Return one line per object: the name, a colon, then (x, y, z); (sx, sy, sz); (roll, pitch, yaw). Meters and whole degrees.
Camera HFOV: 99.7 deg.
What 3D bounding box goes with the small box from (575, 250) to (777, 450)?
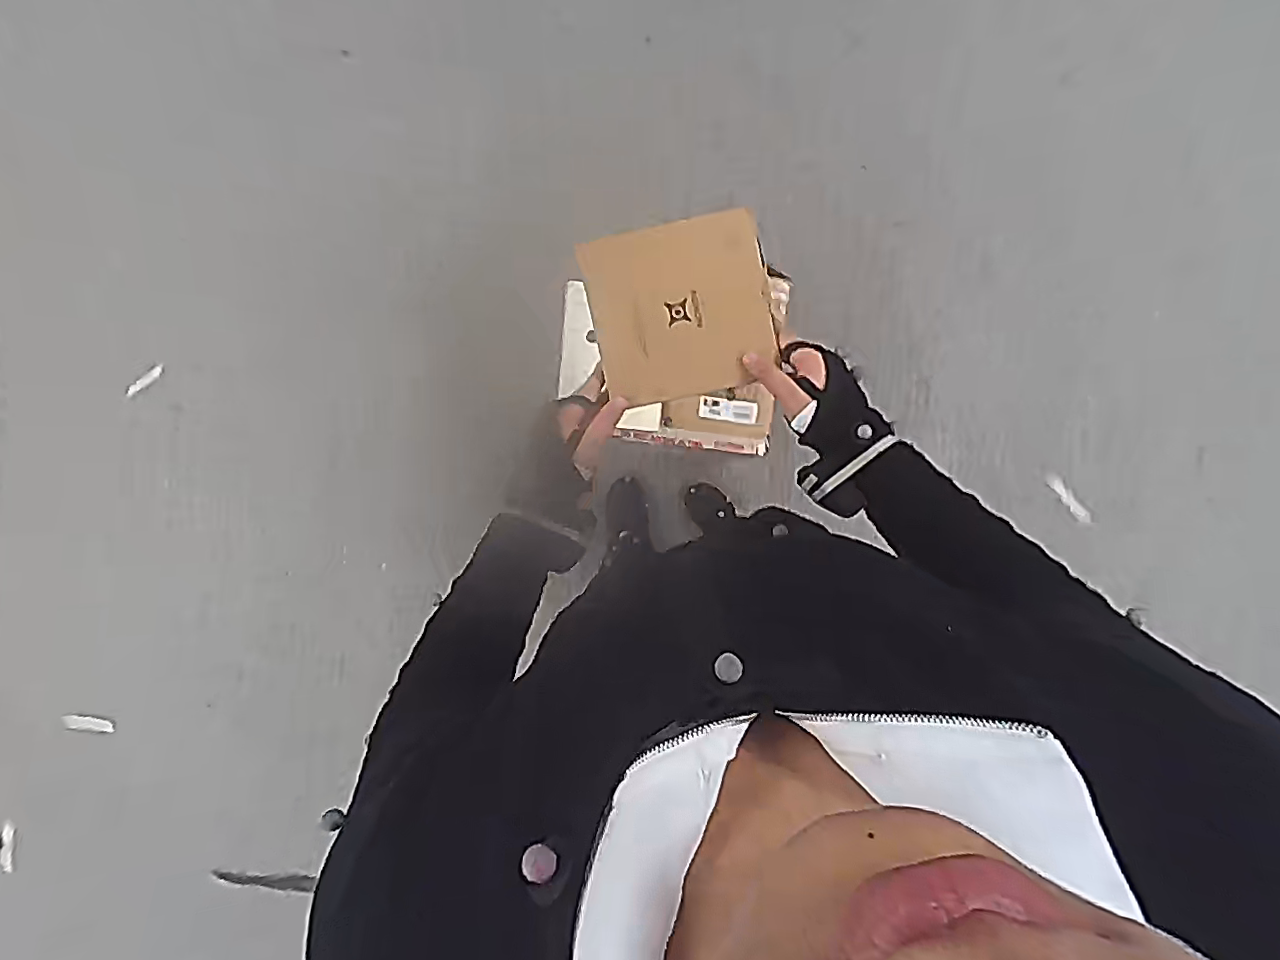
small box: (0.036, -0.139, 0.617); (0.179, 0.176, 0.168); (-14, 97, 2)
